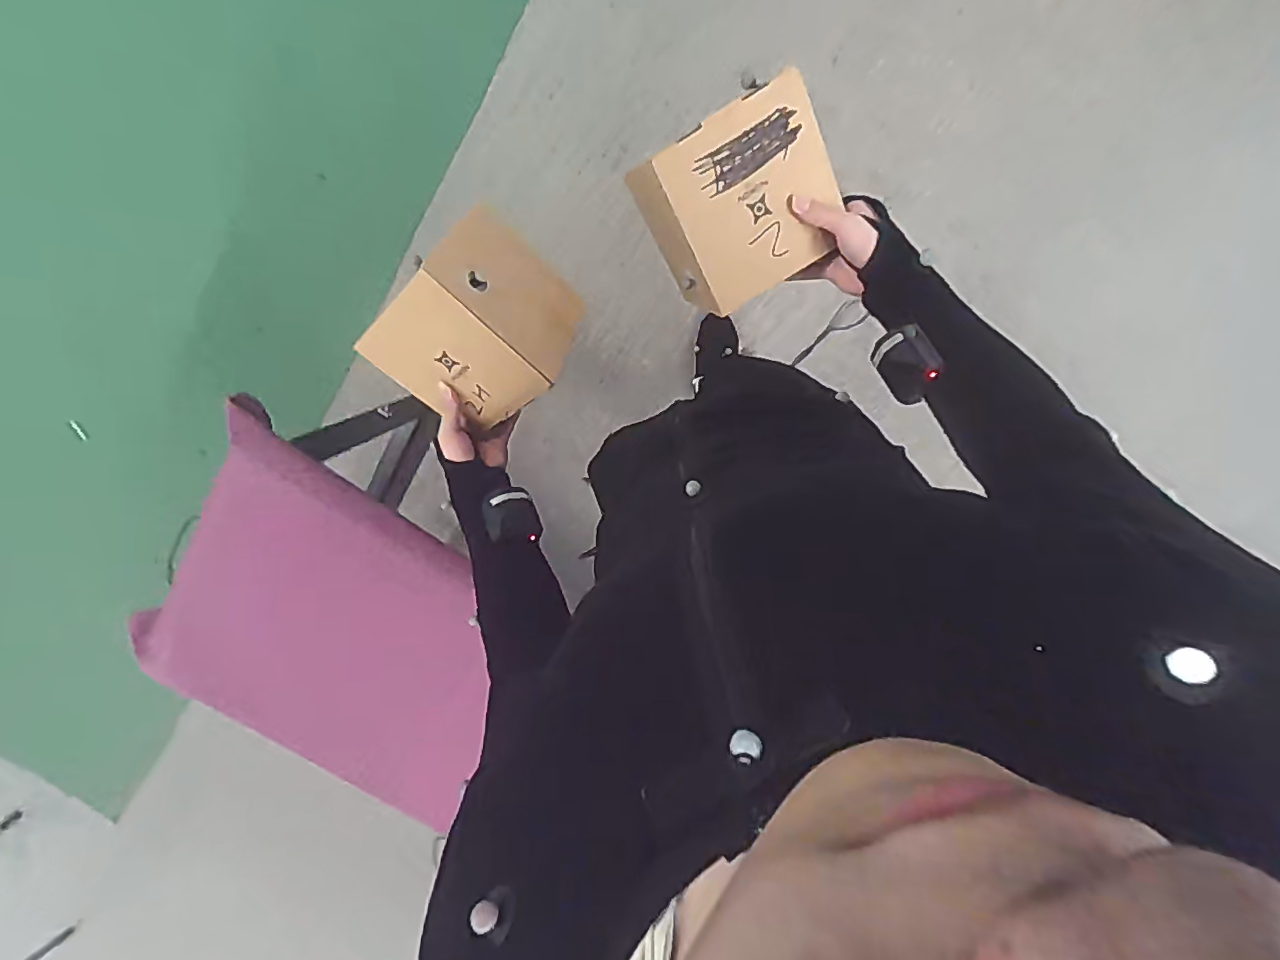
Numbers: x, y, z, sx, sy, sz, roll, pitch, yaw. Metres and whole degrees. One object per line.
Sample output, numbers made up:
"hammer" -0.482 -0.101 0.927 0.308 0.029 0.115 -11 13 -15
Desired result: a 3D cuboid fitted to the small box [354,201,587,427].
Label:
"small box" -0.192 -0.201 0.651 0.168 0.176 0.179 -23 128 38
